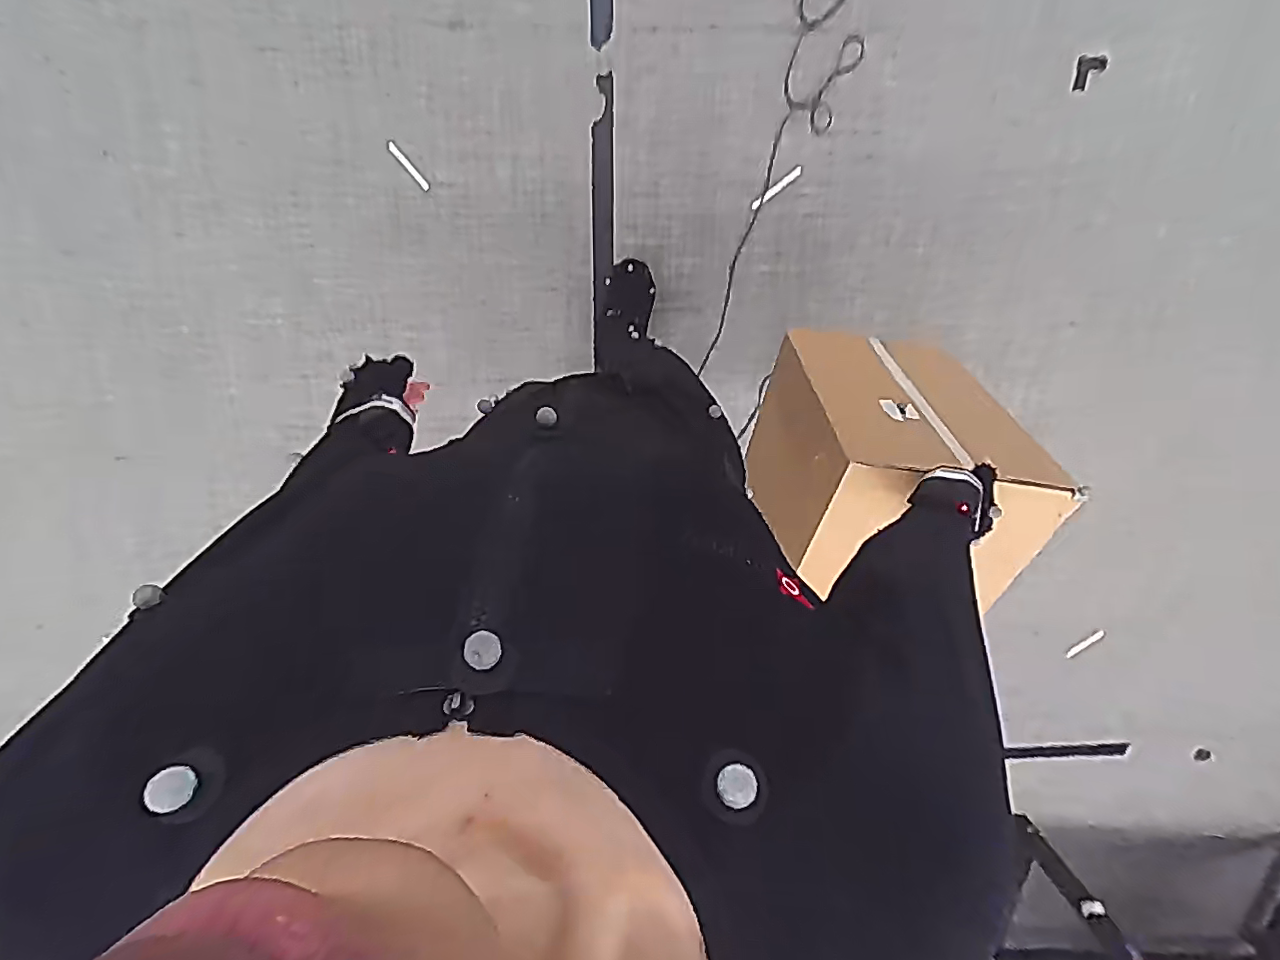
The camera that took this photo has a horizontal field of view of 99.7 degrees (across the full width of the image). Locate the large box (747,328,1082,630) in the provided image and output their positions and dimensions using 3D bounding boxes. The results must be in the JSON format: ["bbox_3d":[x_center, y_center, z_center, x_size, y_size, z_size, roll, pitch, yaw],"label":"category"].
[{"bbox_3d":[0.397,-0.014,0.925,0.320,0.408,0.320,7,129,-4],"label":"large box"}]
